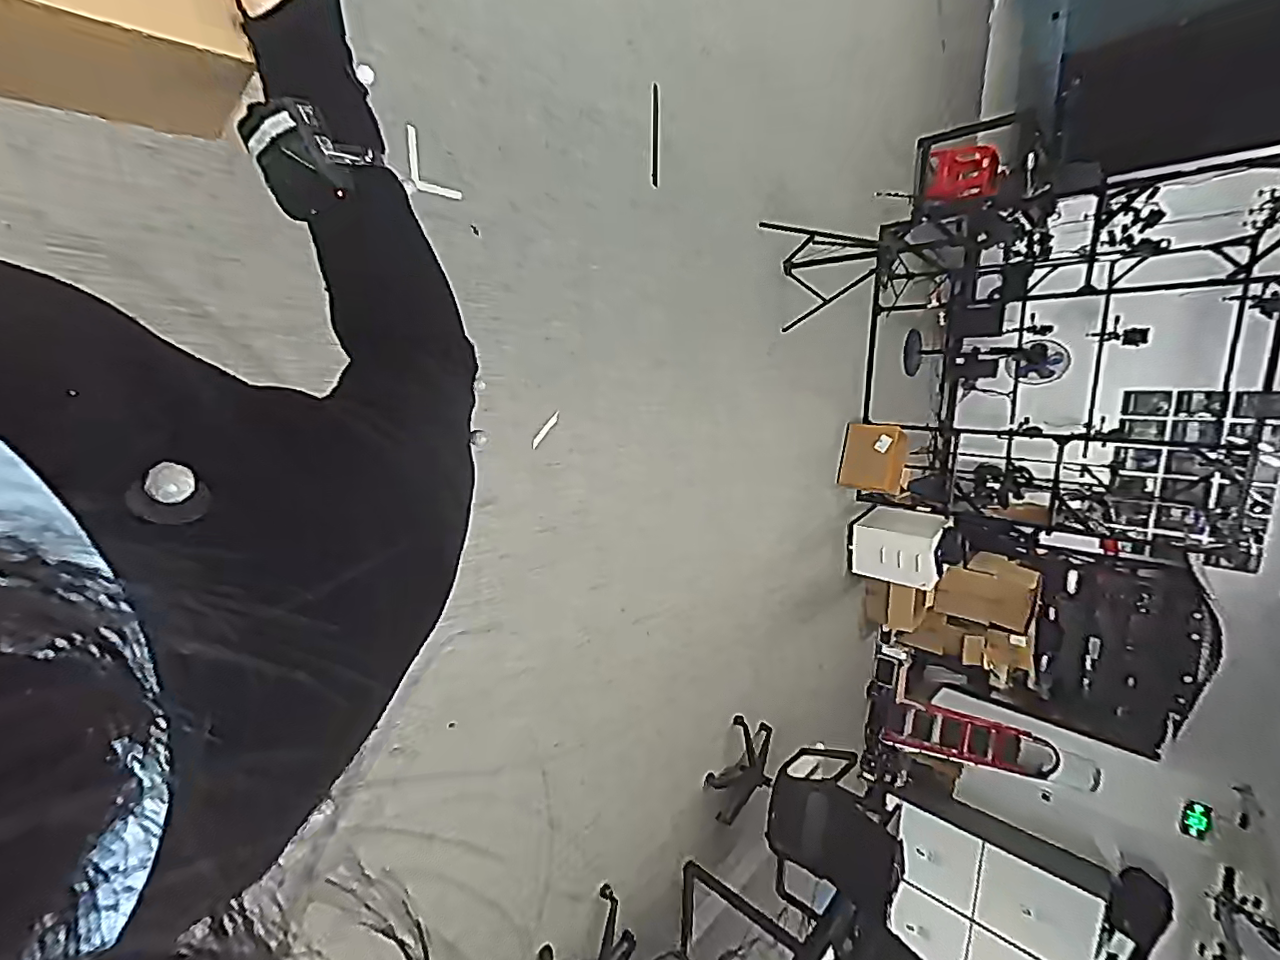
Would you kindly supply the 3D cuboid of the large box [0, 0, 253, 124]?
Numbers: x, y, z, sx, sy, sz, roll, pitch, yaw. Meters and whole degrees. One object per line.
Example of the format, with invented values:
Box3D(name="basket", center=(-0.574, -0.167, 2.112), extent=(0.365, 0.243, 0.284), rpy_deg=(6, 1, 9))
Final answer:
Box3D(name="large box", center=(-0.504, -0.452, 0.314), extent=(0.408, 0.320, 0.320), rpy_deg=(-11, 112, -38))
